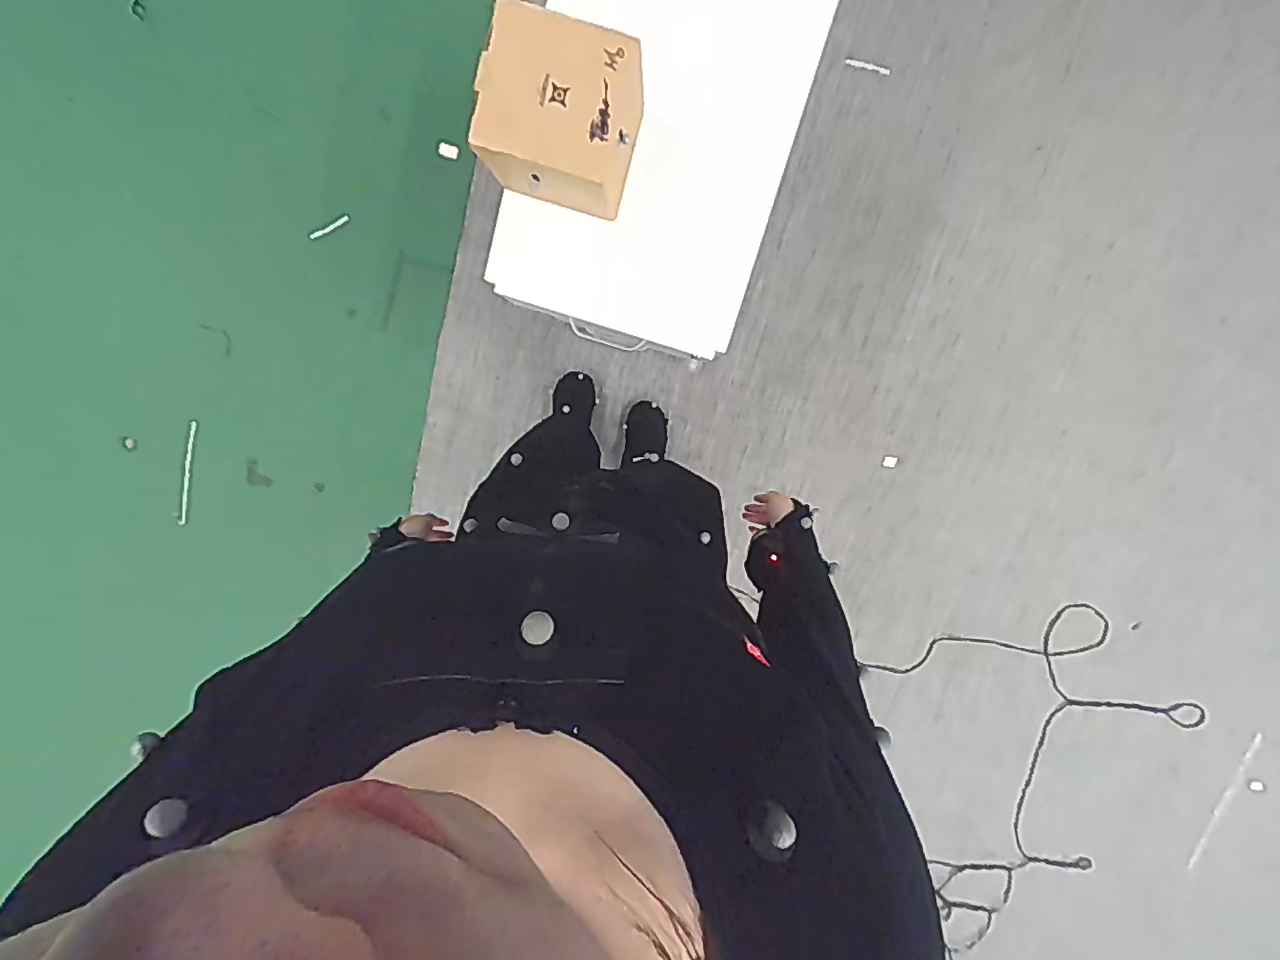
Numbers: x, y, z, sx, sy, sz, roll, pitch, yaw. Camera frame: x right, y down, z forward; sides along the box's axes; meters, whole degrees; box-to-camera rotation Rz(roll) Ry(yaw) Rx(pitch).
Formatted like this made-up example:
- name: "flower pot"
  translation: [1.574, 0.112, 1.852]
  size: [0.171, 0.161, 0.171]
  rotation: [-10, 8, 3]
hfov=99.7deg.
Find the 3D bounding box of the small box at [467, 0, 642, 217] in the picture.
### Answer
- name: "small box"
  translation: [-0.103, -0.474, 0.720]
  size: [0.179, 0.176, 0.168]
  rotation: [16, 102, -1]
